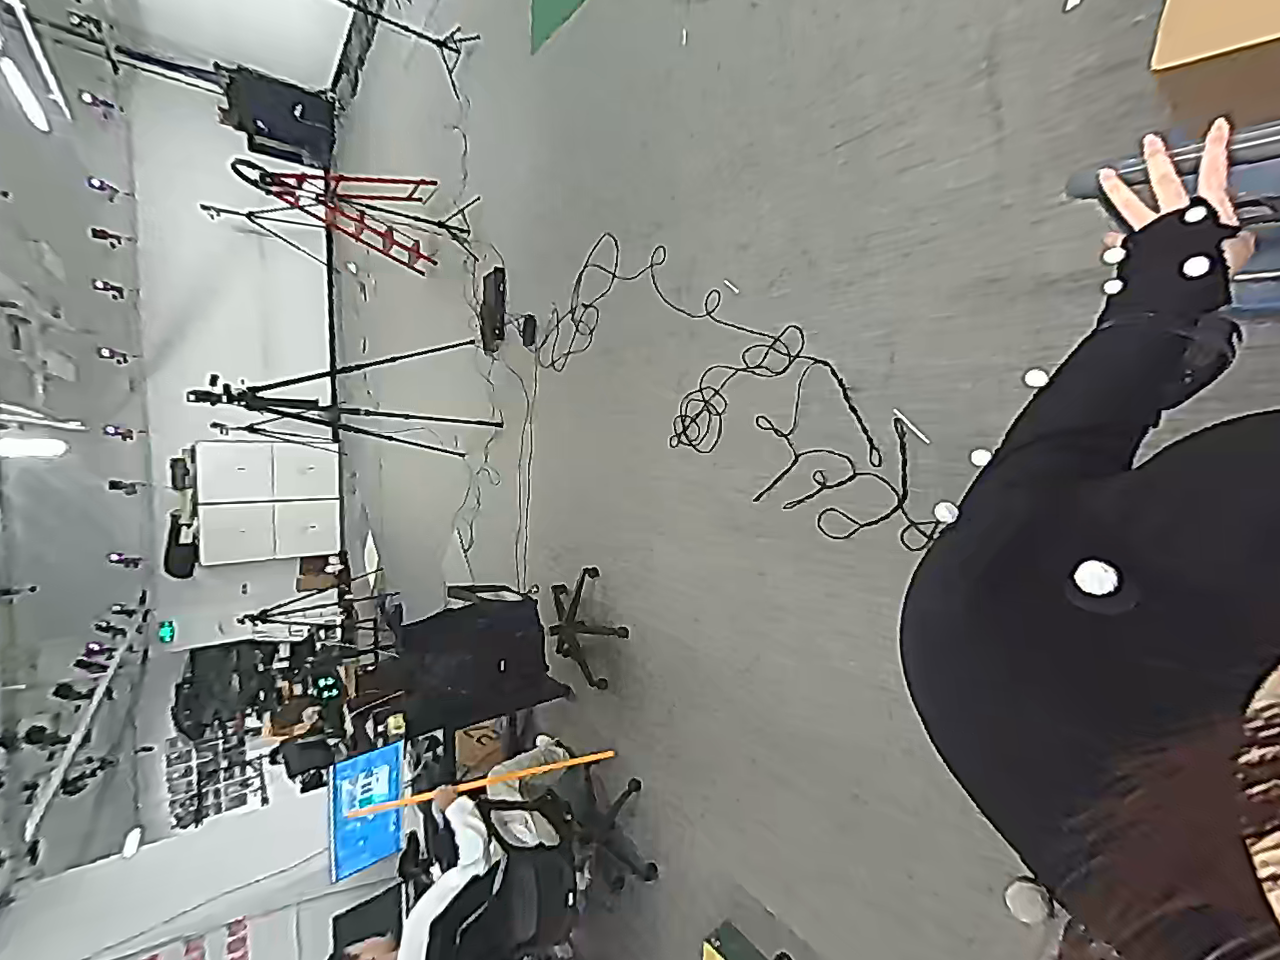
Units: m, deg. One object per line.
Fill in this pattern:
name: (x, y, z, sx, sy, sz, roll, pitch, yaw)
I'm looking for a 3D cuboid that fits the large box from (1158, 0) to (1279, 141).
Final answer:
large box: (1.005, -0.717, 0.711, 0.408, 0.320, 0.320, 18, 106, 49)
